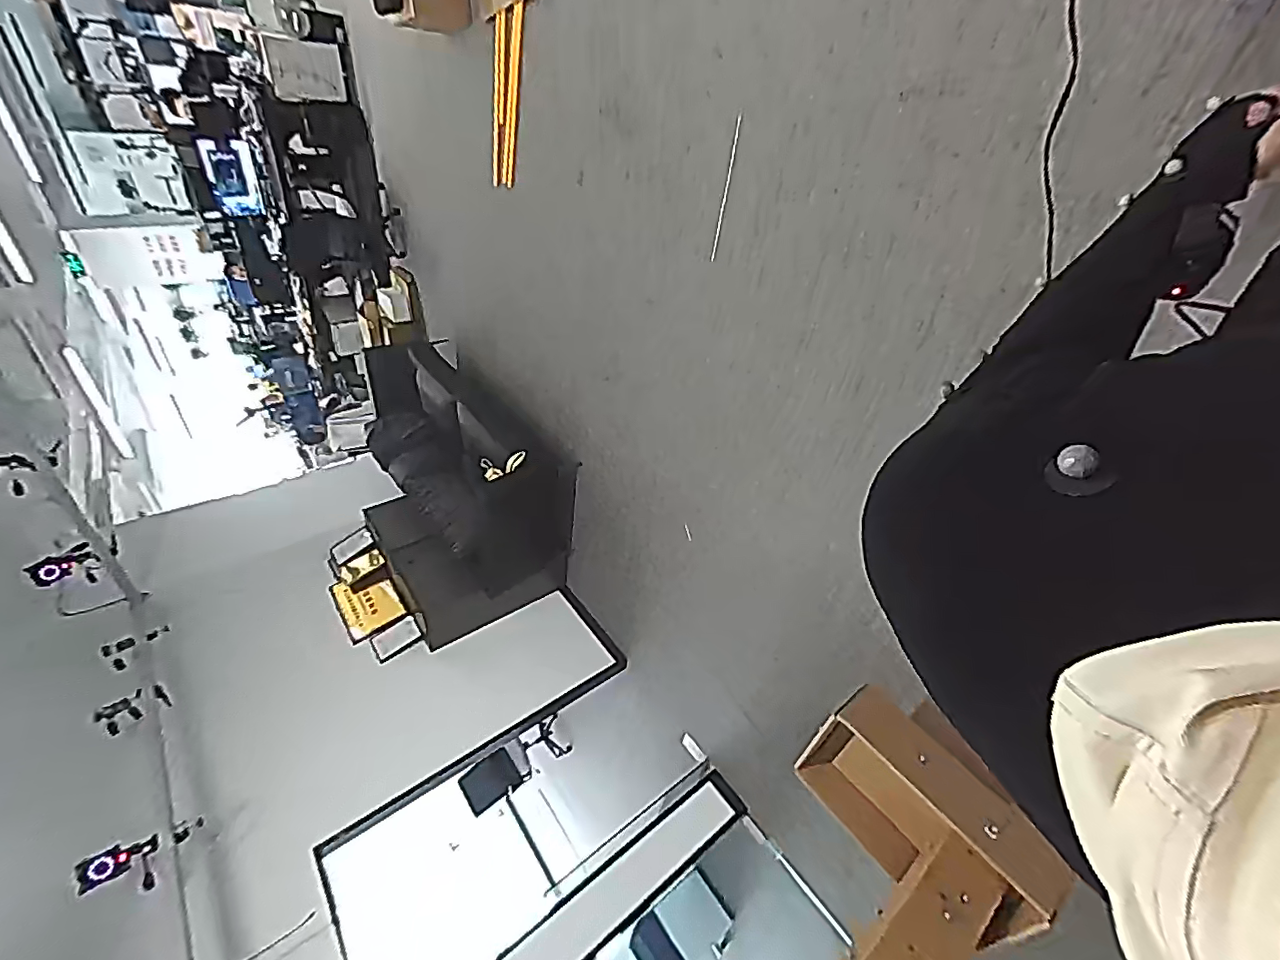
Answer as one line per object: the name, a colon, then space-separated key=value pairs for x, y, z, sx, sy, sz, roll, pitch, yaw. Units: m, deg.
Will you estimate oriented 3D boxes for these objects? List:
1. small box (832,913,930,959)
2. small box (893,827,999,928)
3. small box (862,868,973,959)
small box: x=0.598 y=1.216 z=1.325 sx=0.168 sy=0.176 sz=0.179 roll=46 pitch=140 yaw=29
small box: x=0.852 y=1.115 z=1.503 sx=0.168 sy=0.176 sz=0.179 roll=43 pitch=139 yaw=32
small box: x=0.725 y=1.166 z=1.413 sx=0.168 sy=0.176 sz=0.179 roll=44 pitch=139 yaw=30
